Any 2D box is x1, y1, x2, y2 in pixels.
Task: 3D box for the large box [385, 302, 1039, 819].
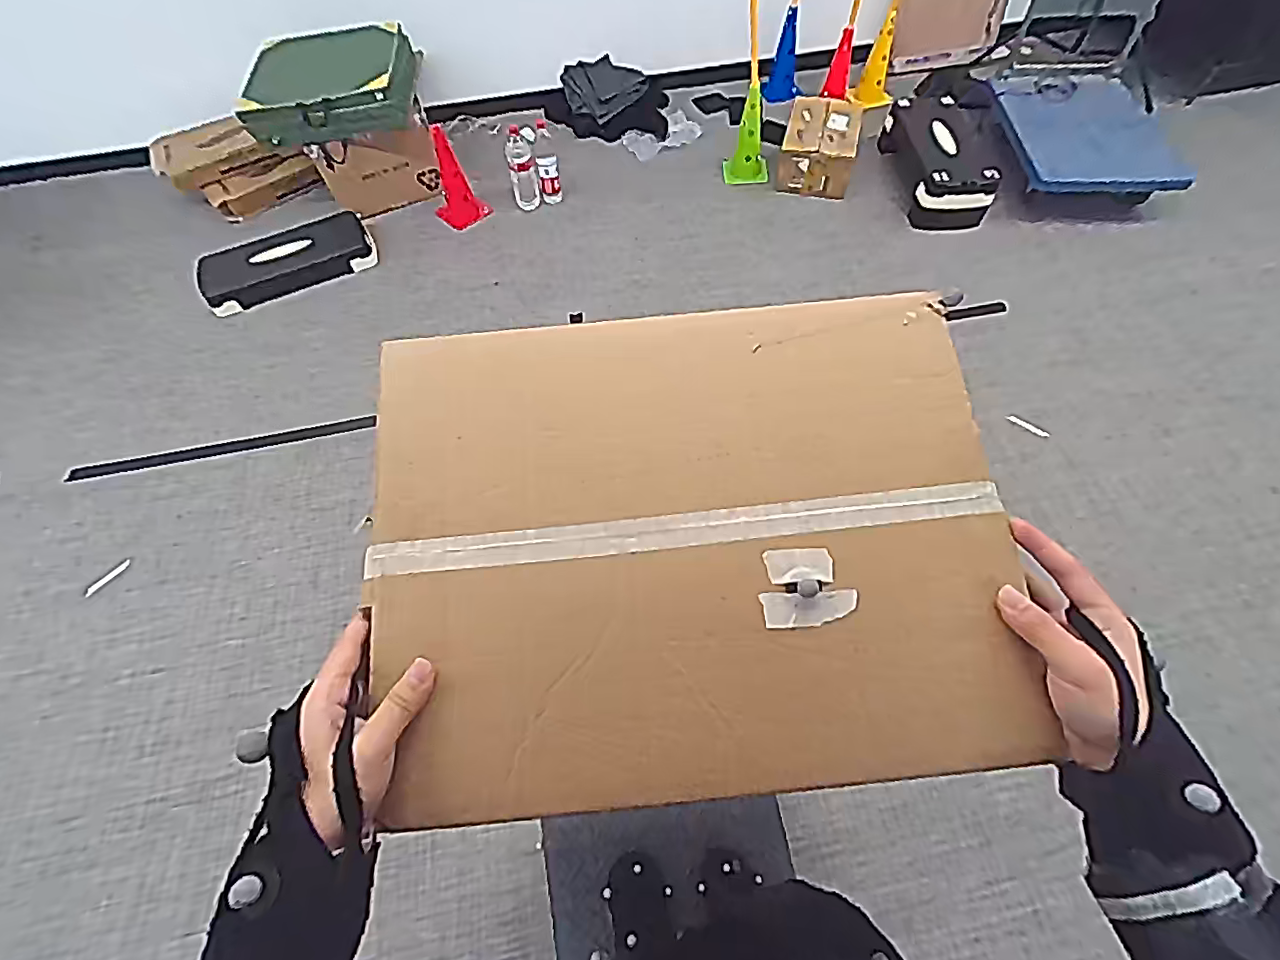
[{"bbox_3d":[0.030,0.073,0.505,0.408,0.320,0.320,-6,75,-1],"label":"large box"}]
